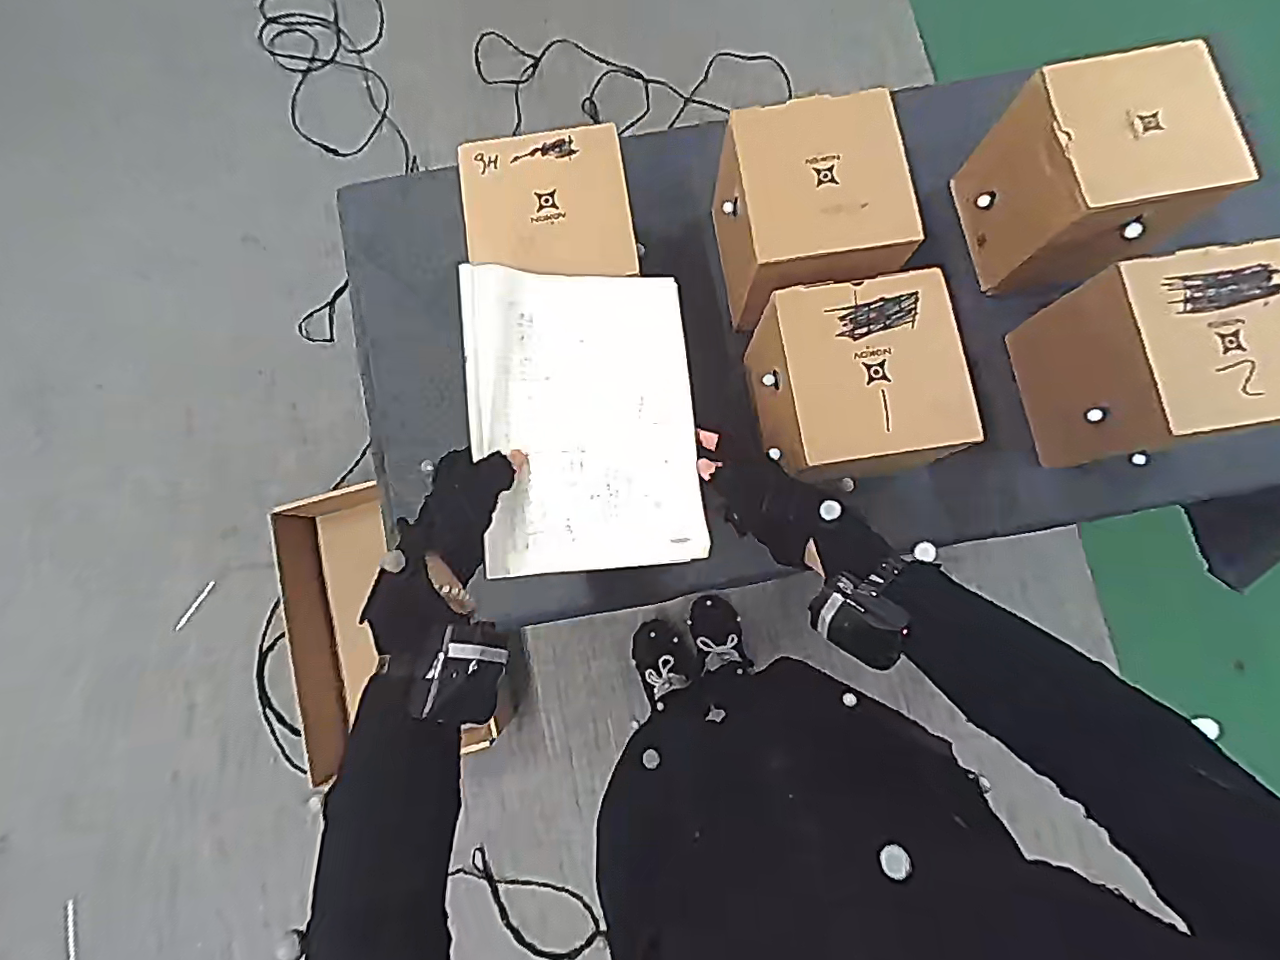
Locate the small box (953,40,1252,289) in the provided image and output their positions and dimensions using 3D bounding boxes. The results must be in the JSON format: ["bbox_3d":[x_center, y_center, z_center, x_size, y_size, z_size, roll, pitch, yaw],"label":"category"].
[{"bbox_3d":[0.504,-0.345,0.620,0.179,0.176,0.168,-10,80,0],"label":"small box"}]
